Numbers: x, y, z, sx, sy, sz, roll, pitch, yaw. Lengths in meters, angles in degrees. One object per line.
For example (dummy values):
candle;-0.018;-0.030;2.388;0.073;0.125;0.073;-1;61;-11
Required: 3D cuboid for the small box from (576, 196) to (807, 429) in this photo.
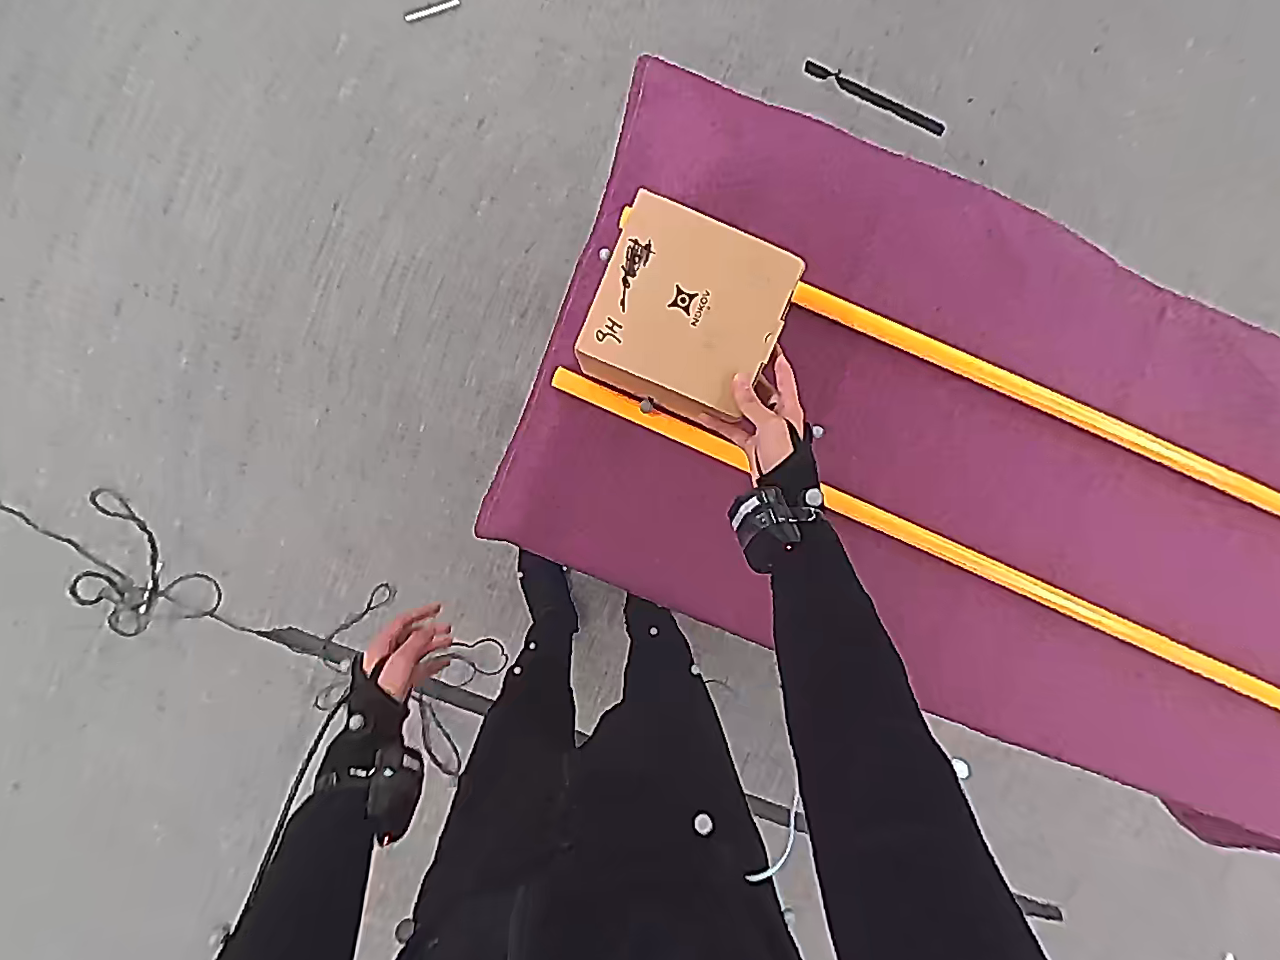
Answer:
small box;0.045;-0.163;0.589;0.179;0.176;0.168;23;91;-4
